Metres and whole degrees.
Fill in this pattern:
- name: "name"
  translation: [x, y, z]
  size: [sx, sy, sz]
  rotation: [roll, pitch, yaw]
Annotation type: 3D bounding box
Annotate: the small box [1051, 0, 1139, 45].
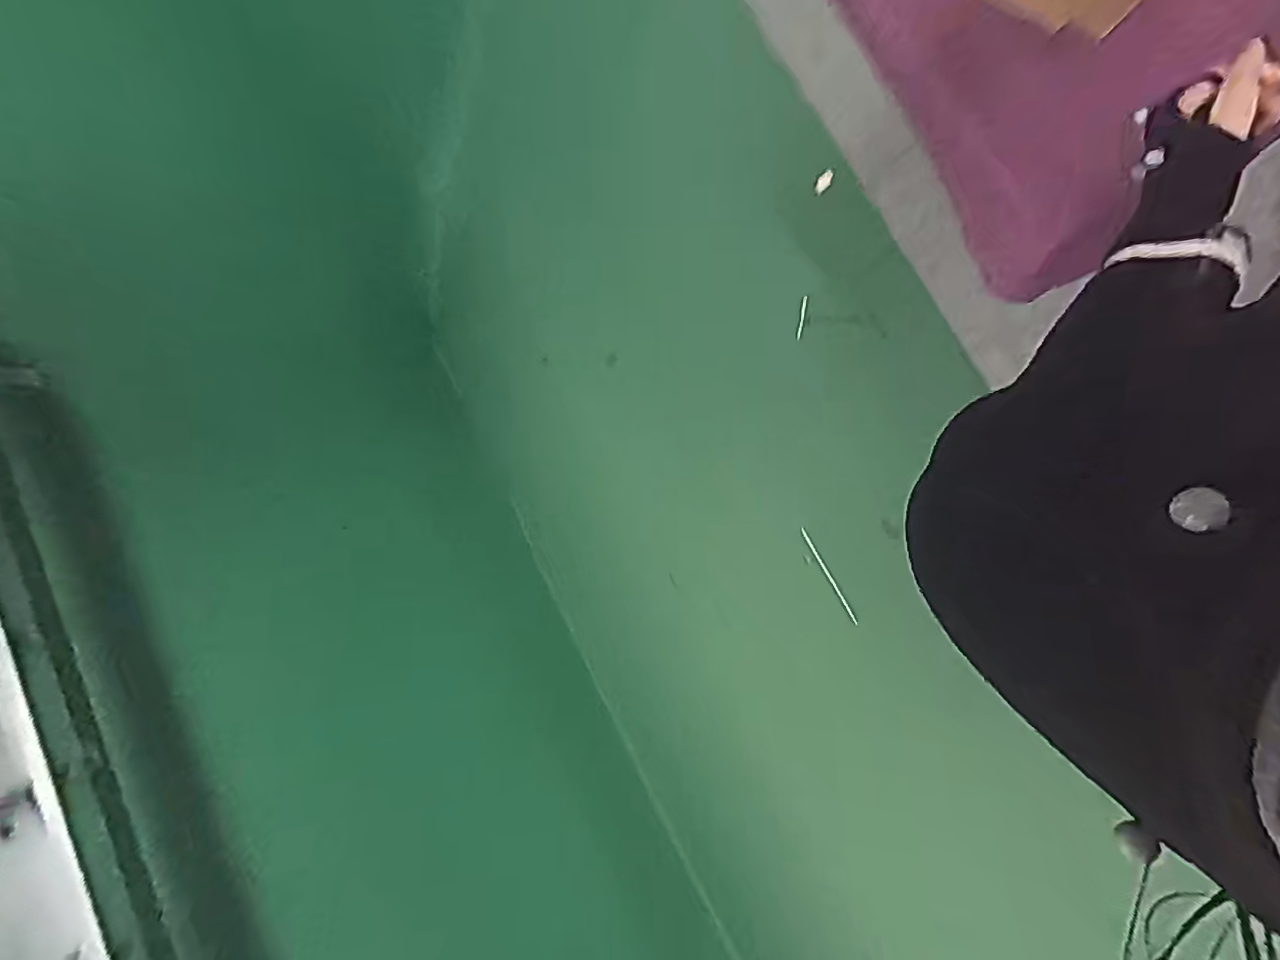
- name: "small box"
  translation: [0.401, -0.524, 0.460]
  size: [0.168, 0.176, 0.179]
  rotation: [60, 144, 11]
